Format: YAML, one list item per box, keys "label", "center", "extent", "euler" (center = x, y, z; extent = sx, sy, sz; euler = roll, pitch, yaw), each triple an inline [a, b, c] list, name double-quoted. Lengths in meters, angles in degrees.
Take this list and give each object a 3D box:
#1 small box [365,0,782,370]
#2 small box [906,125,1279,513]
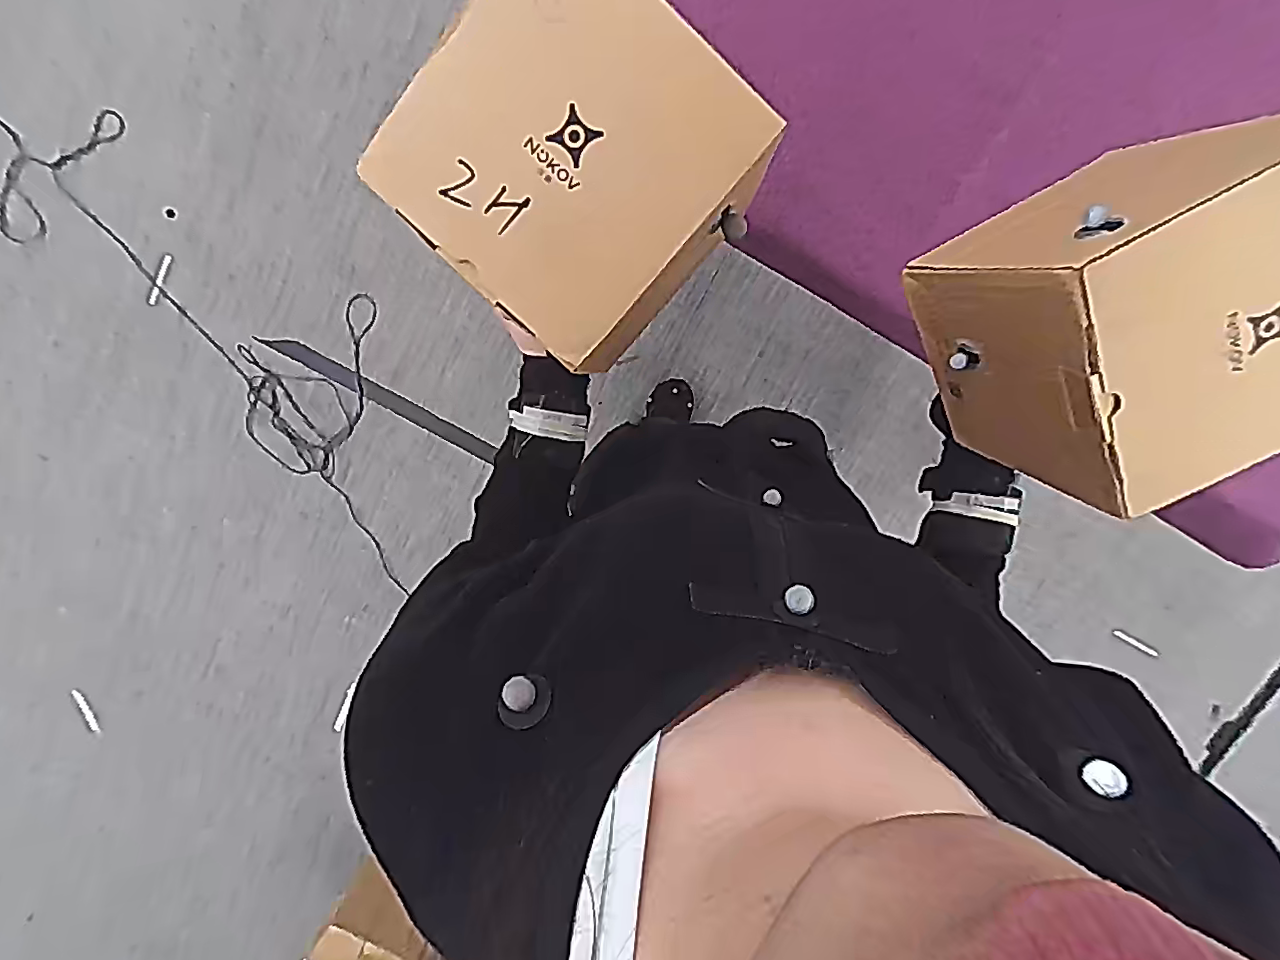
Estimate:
- label: "small box"
  center: [-0.036, -0.196, 0.373]
  extent: [0.168, 0.176, 0.179]
  euler: [42, 101, -5]
- label: "small box"
  center: [0.323, -0.113, 0.369]
  extent: [0.179, 0.176, 0.168]
  euler: [-28, 112, 7]
